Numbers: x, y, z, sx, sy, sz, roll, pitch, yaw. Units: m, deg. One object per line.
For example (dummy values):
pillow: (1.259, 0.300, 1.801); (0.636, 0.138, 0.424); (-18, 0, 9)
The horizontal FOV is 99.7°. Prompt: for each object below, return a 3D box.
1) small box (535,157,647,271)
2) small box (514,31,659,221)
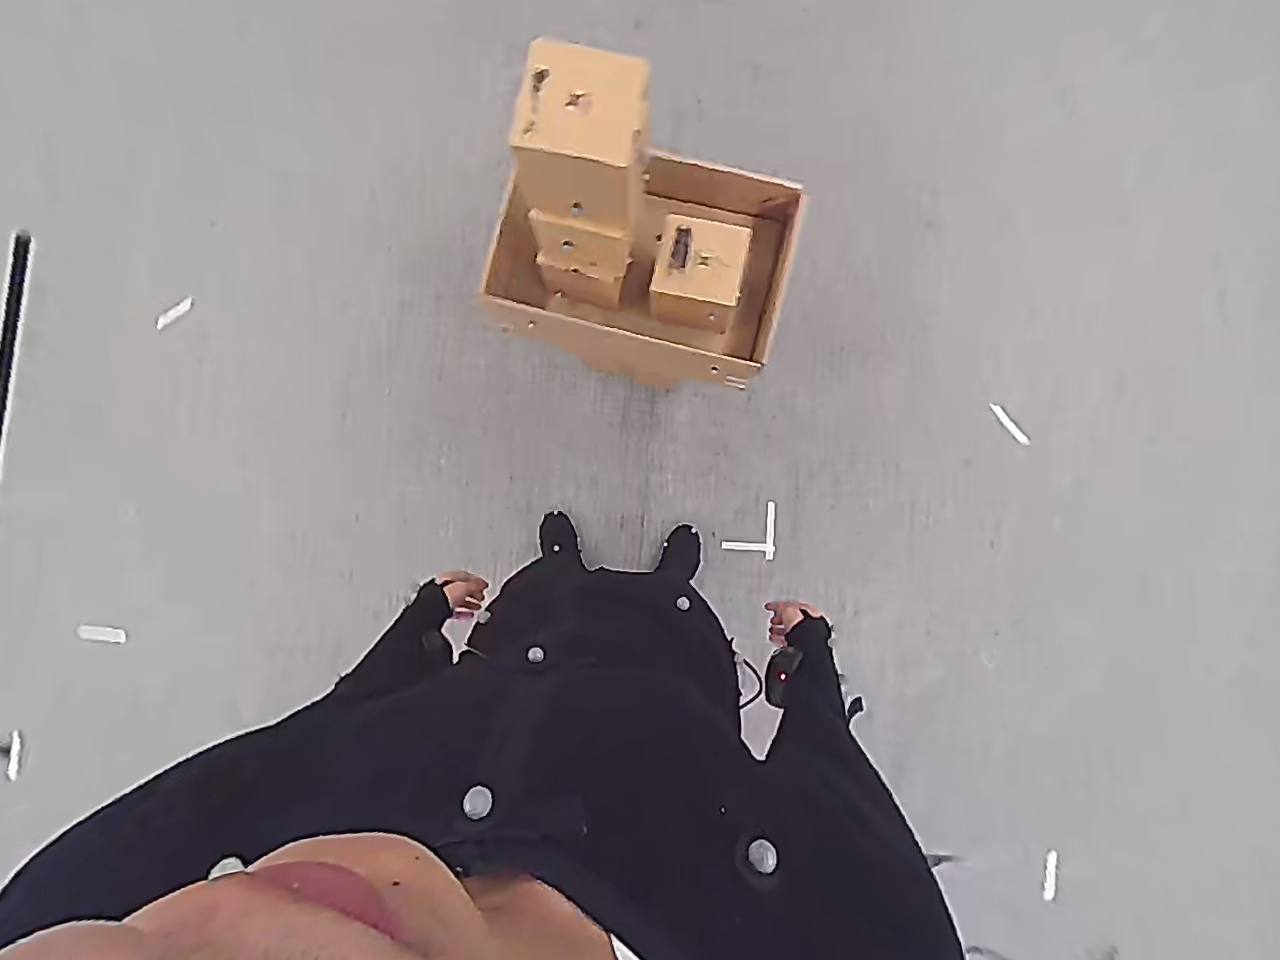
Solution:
small box: (-0.083, -0.519, 1.008); (0.168, 0.176, 0.179); (14, 87, 0)
small box: (-0.078, -0.536, 0.845); (0.179, 0.176, 0.168); (13, 86, -1)
